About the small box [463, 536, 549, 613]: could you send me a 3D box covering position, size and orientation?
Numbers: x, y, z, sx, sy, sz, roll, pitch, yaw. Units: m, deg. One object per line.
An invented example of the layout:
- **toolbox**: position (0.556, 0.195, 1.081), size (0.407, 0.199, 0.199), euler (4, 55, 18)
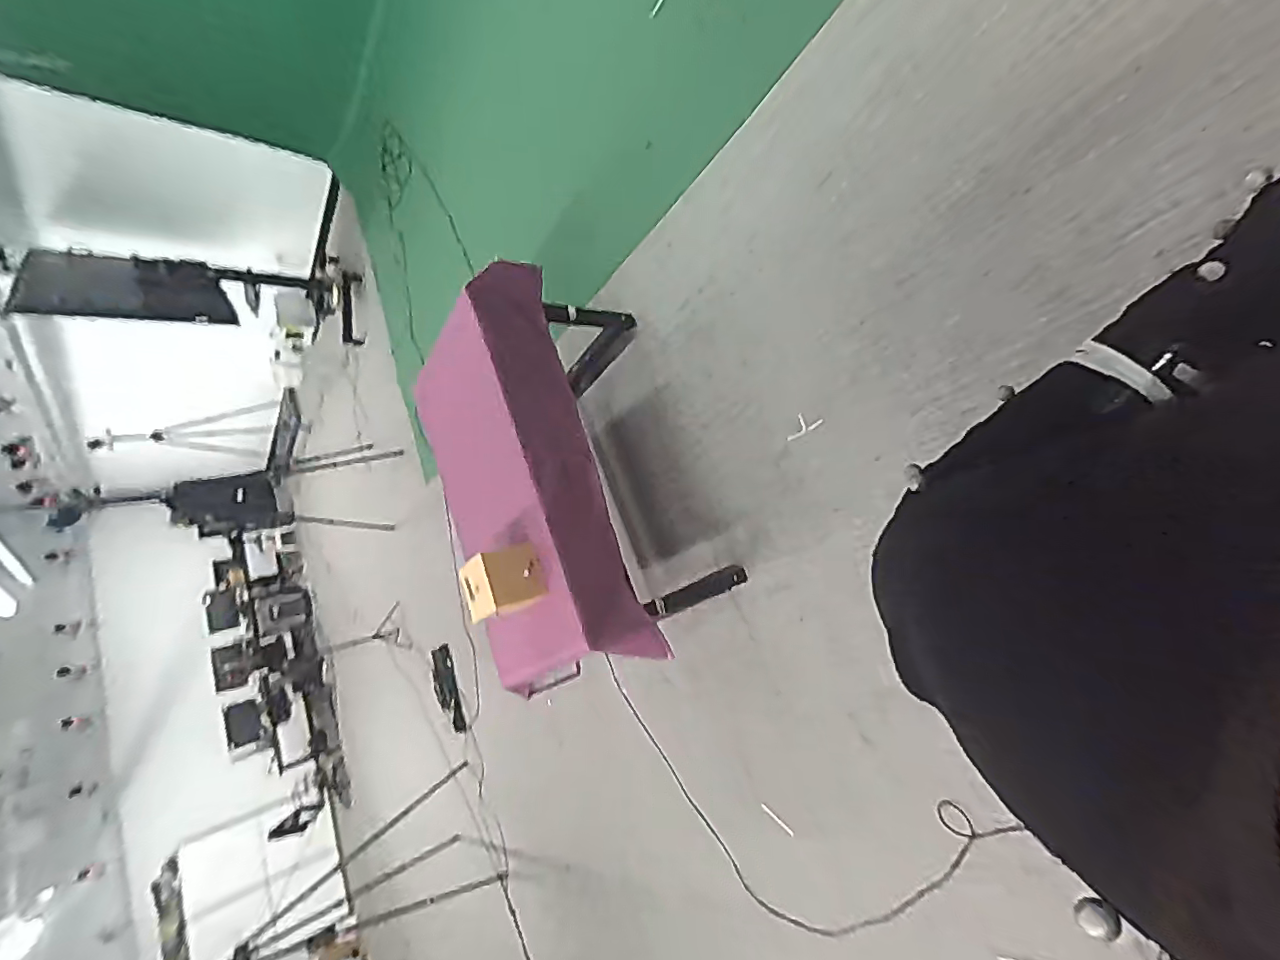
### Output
- **small box**: position (-0.395, 0.279, 1.598), size (0.179, 0.176, 0.168), euler (-34, 71, 45)
